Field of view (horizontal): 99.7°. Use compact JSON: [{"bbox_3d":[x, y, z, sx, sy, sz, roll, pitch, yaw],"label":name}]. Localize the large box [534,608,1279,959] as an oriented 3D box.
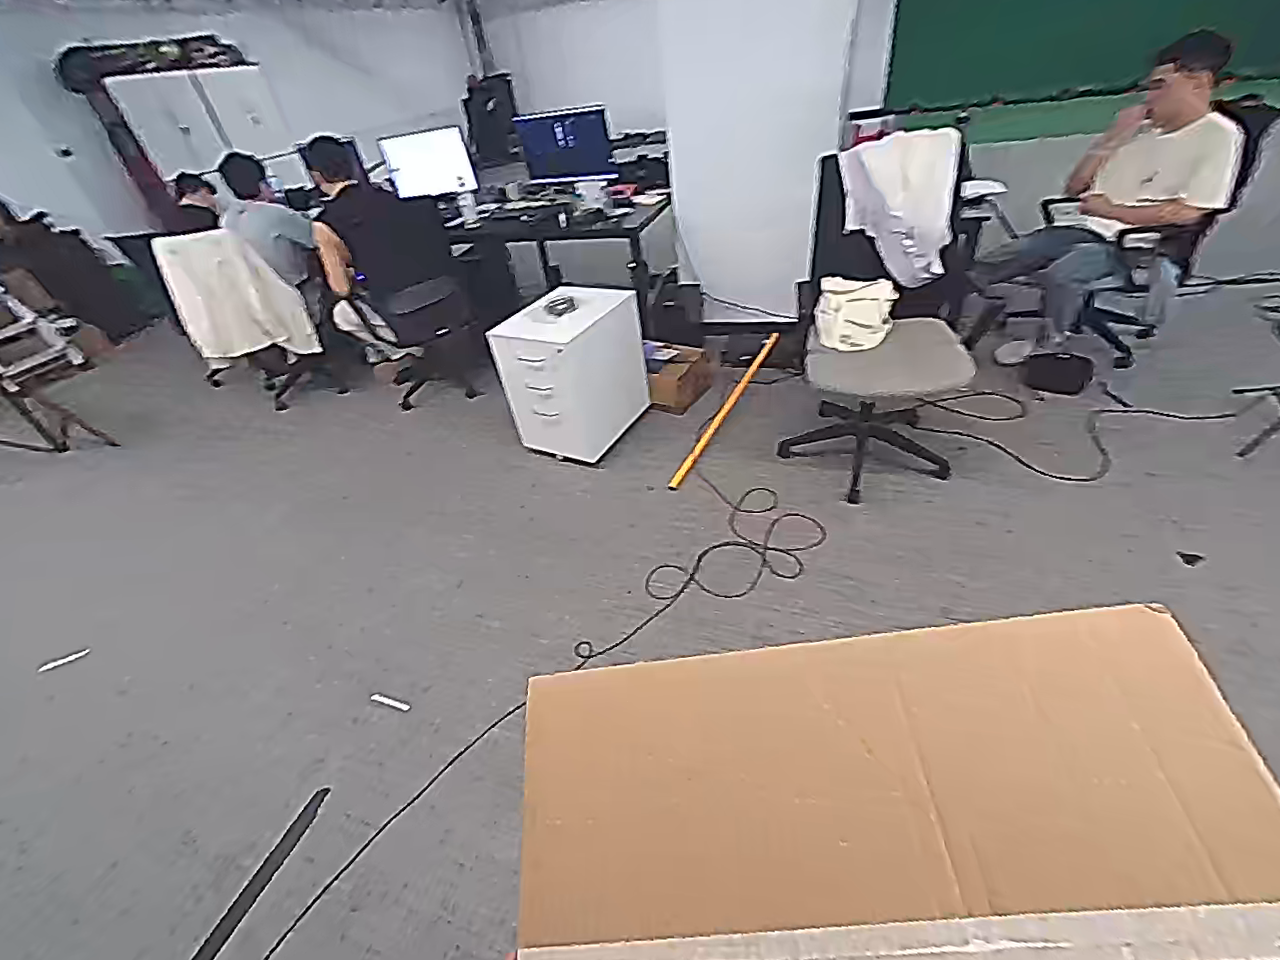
[{"bbox_3d":[0.160,0.321,0.406,0.408,0.320,0.320,-10,58,7],"label":"large box"}]
